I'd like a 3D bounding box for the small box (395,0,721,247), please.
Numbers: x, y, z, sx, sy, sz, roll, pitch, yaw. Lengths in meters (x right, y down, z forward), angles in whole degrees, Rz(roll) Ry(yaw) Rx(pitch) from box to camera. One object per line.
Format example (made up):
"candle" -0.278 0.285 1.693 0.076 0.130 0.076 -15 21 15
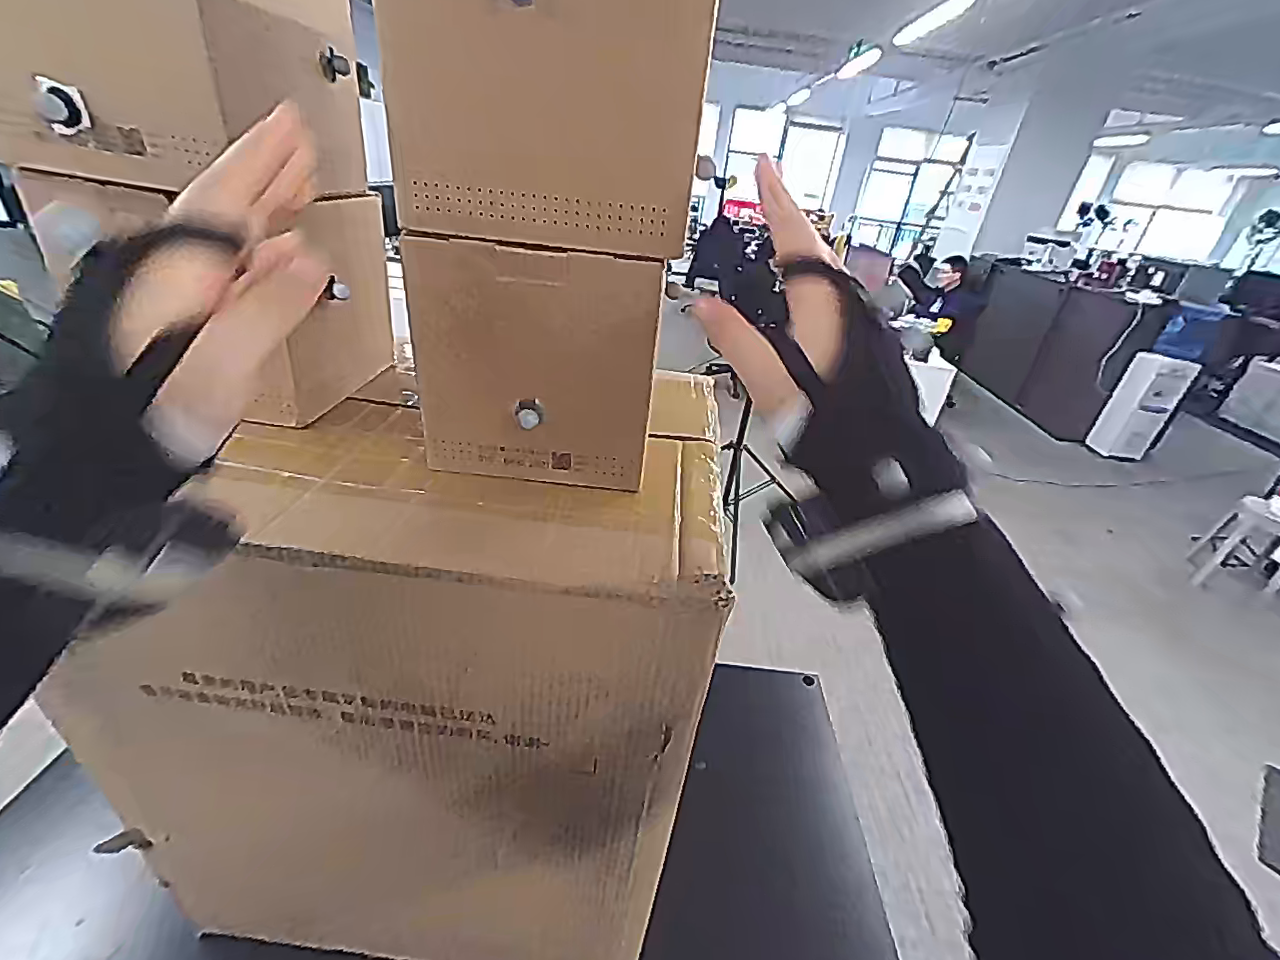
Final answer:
"small box" -0.045 -0.254 0.352 0.179 0.176 0.168 7 30 0

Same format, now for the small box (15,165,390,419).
"small box" -0.334 -0.166 0.465 0.168 0.176 0.179 8 31 -2

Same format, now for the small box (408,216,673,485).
"small box" -0.065 -0.116 0.439 0.168 0.176 0.179 6 30 1

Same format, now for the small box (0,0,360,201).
"small box" -0.315 -0.299 0.372 0.168 0.176 0.179 6 30 -2
